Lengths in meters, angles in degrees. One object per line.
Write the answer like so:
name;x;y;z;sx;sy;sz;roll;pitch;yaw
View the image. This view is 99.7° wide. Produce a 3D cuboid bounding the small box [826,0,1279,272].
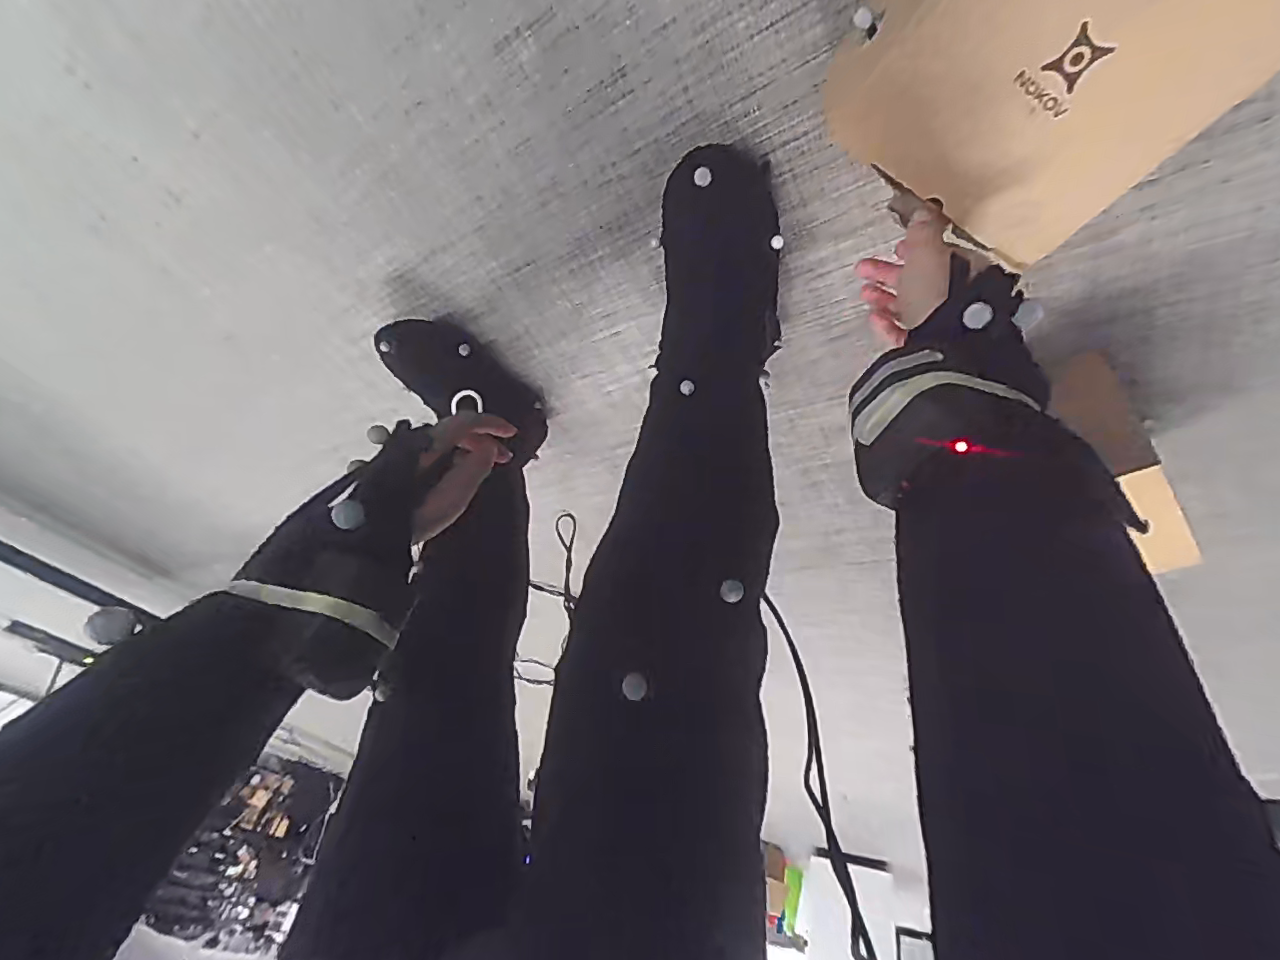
small box;0.237;-0.275;0.331;0.168;0.176;0.179;26;139;-13
